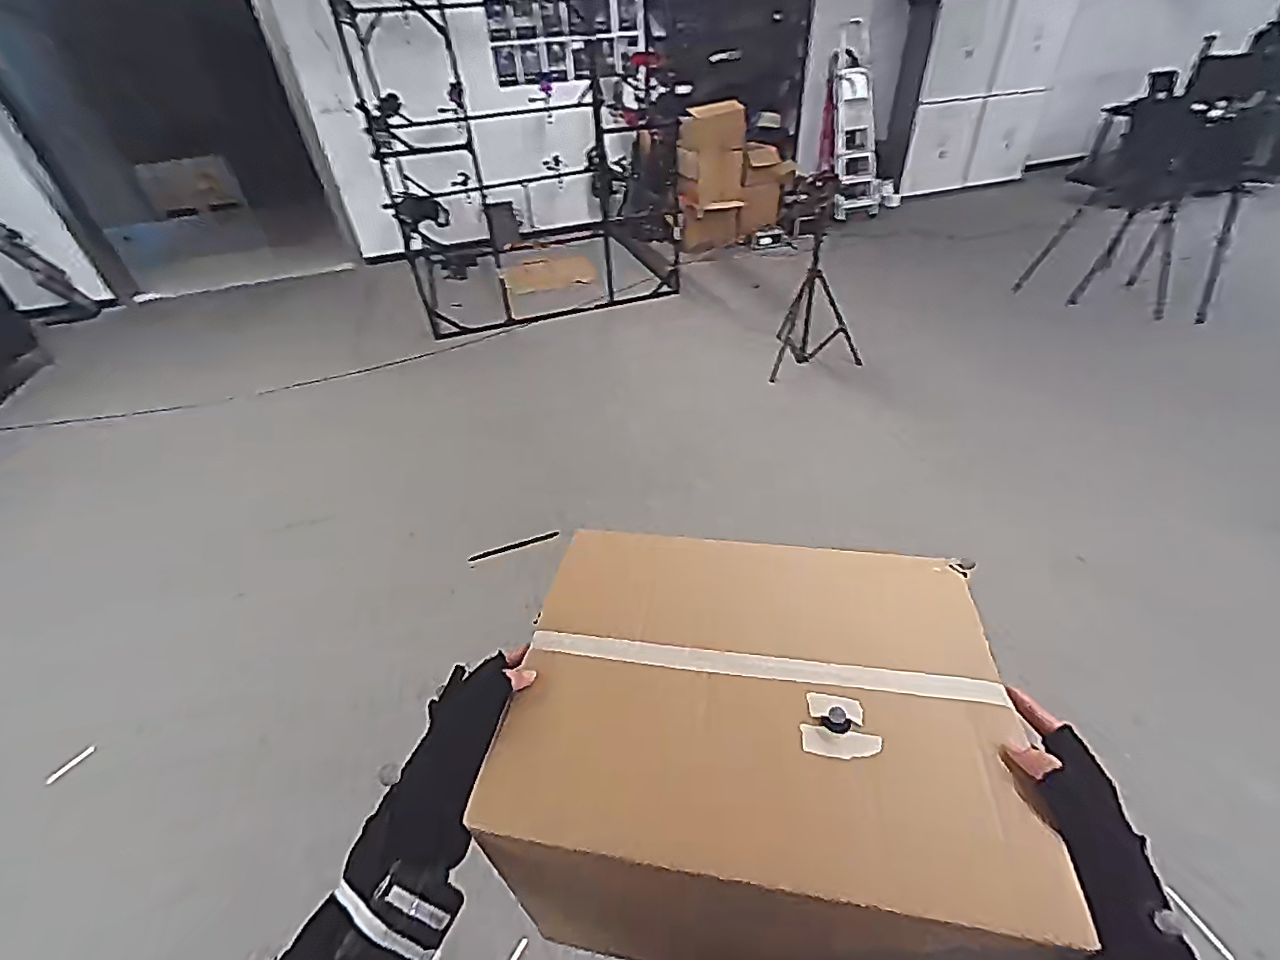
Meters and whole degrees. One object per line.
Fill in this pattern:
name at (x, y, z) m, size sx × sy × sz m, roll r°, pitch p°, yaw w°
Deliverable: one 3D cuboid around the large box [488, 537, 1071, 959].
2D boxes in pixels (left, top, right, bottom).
large box at (0.113, 0.289, 0.575) m, size 0.408 × 0.320 × 0.320 m, roll 4°, pitch 39°, yaw 12°
